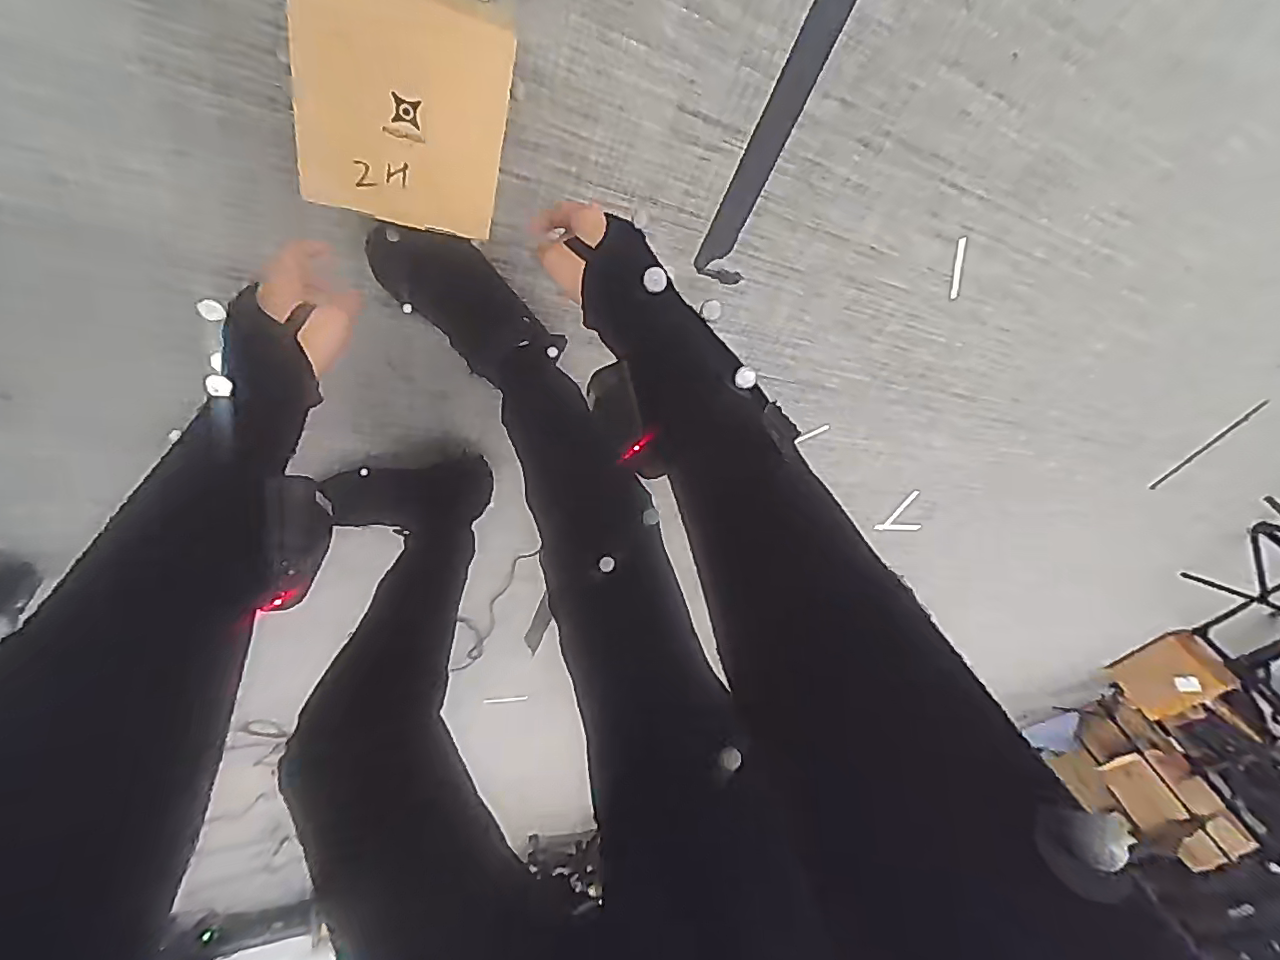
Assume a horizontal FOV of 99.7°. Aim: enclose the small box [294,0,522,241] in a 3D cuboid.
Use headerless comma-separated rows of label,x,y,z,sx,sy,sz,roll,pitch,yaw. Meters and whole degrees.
small box,-0.218,-0.364,0.514,0.168,0.176,0.179,4,134,-23
